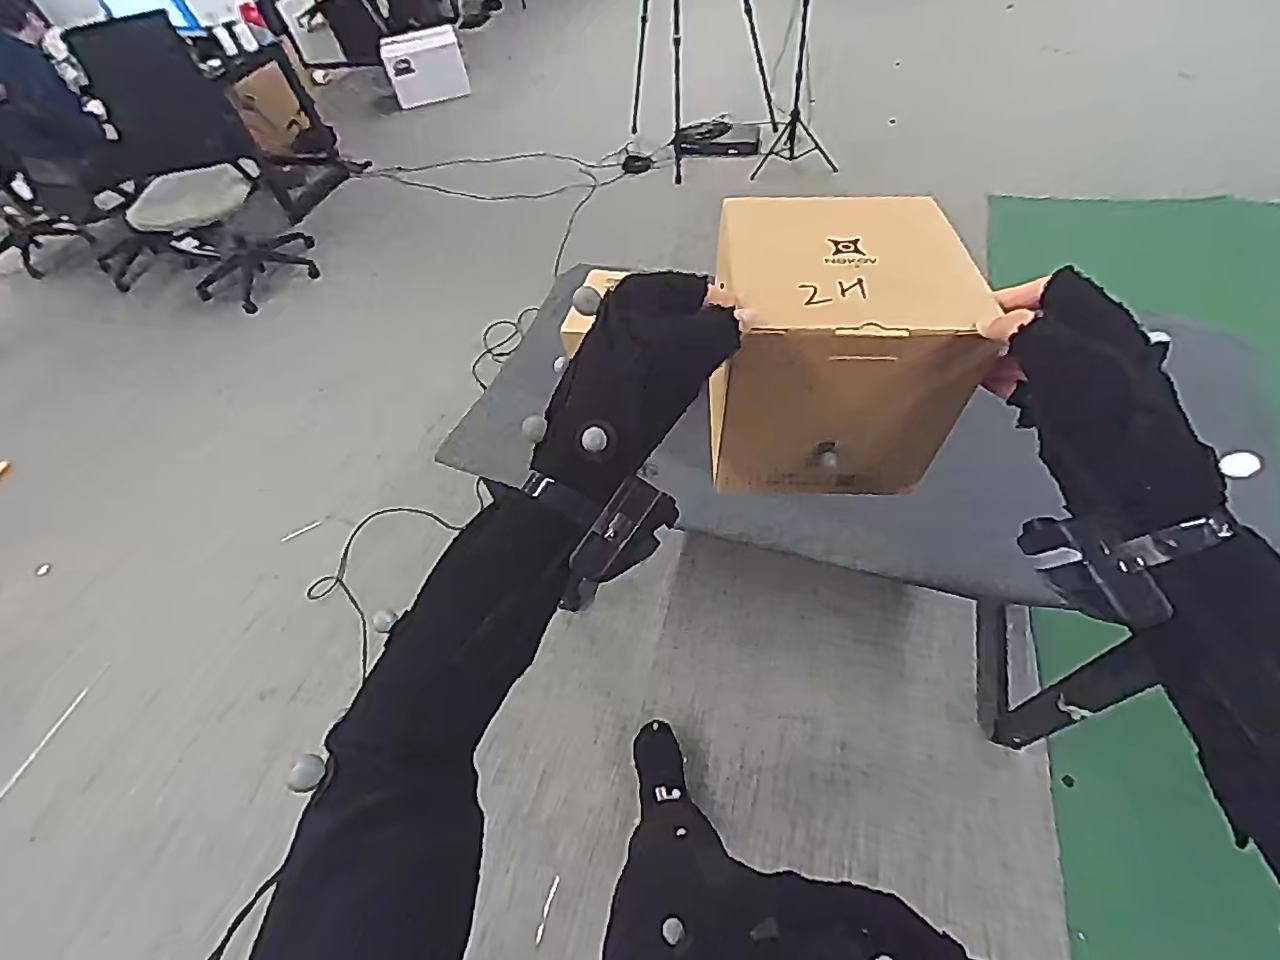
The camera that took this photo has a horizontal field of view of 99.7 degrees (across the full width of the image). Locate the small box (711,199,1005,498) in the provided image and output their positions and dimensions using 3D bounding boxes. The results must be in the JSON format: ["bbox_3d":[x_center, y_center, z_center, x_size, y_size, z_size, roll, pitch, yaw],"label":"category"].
[{"bbox_3d":[0.148,-0.107,0.446,0.168,0.176,0.179,2,52,4],"label":"small box"}]
